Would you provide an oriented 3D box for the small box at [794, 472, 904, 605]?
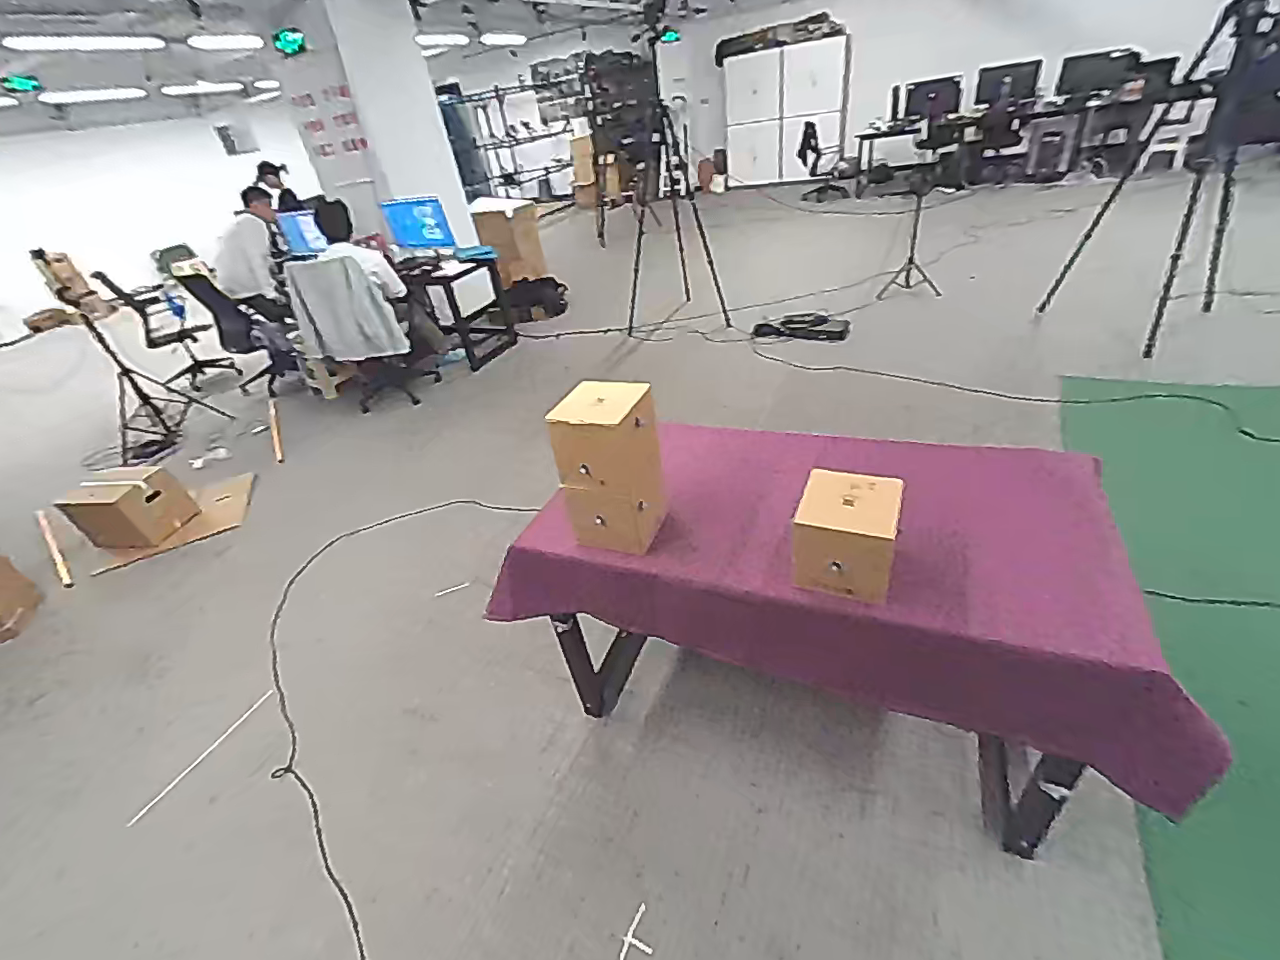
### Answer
[{"bbox_3d":[0.397,0.109,1.031,0.168,0.176,0.179,10,39,26],"label":"small box"}]

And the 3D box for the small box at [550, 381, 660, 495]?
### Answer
[{"bbox_3d":[-0.065,-0.092,1.145,0.168,0.176,0.179,7,39,24],"label":"small box"}]
